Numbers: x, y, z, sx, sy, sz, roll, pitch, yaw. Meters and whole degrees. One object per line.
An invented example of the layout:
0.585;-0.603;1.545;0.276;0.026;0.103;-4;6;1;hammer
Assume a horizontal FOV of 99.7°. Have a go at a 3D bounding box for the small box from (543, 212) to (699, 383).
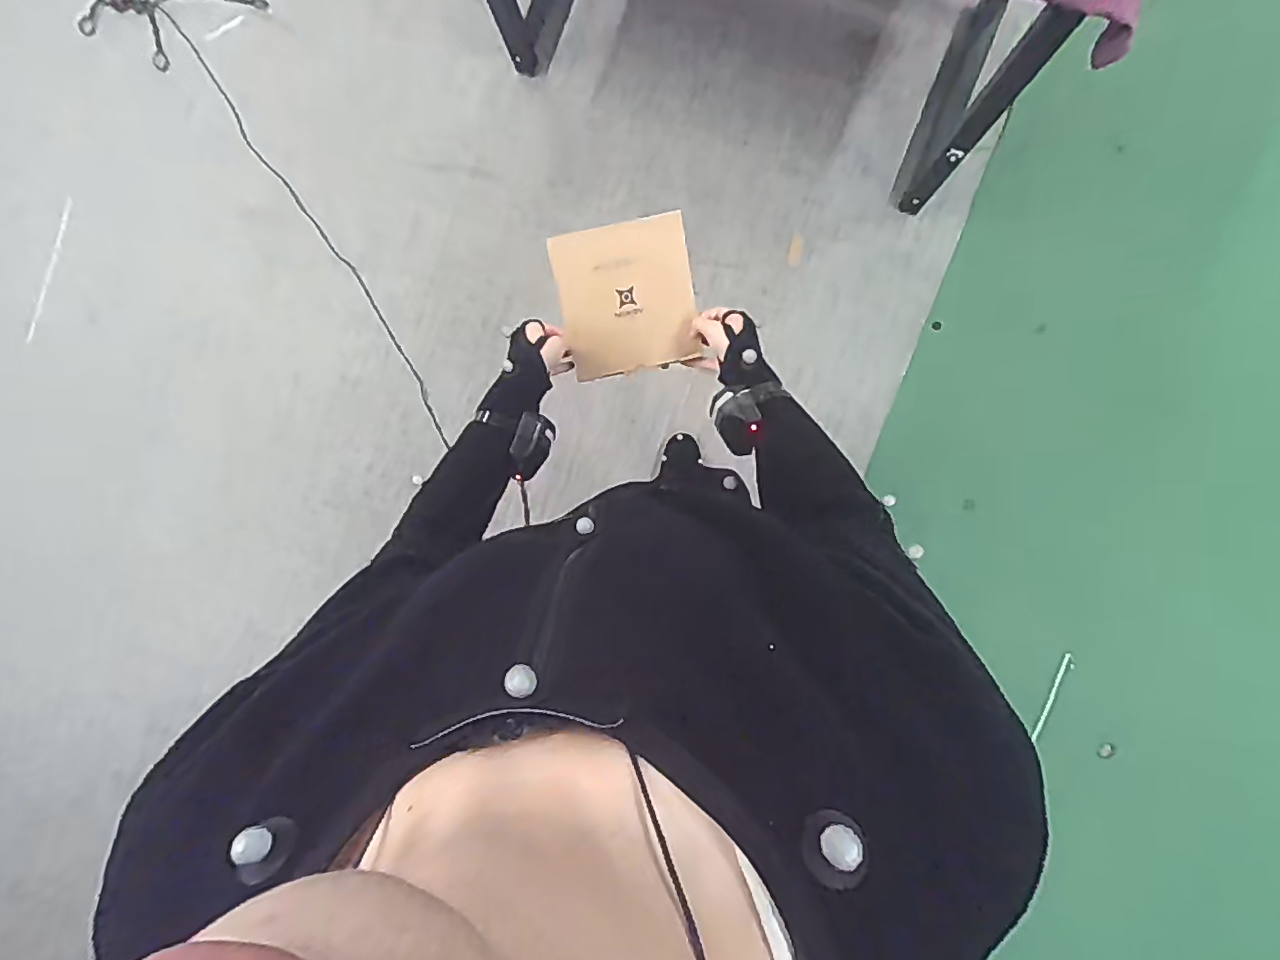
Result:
-0.023;-0.244;0.730;0.168;0.176;0.179;-11;109;0;small box
